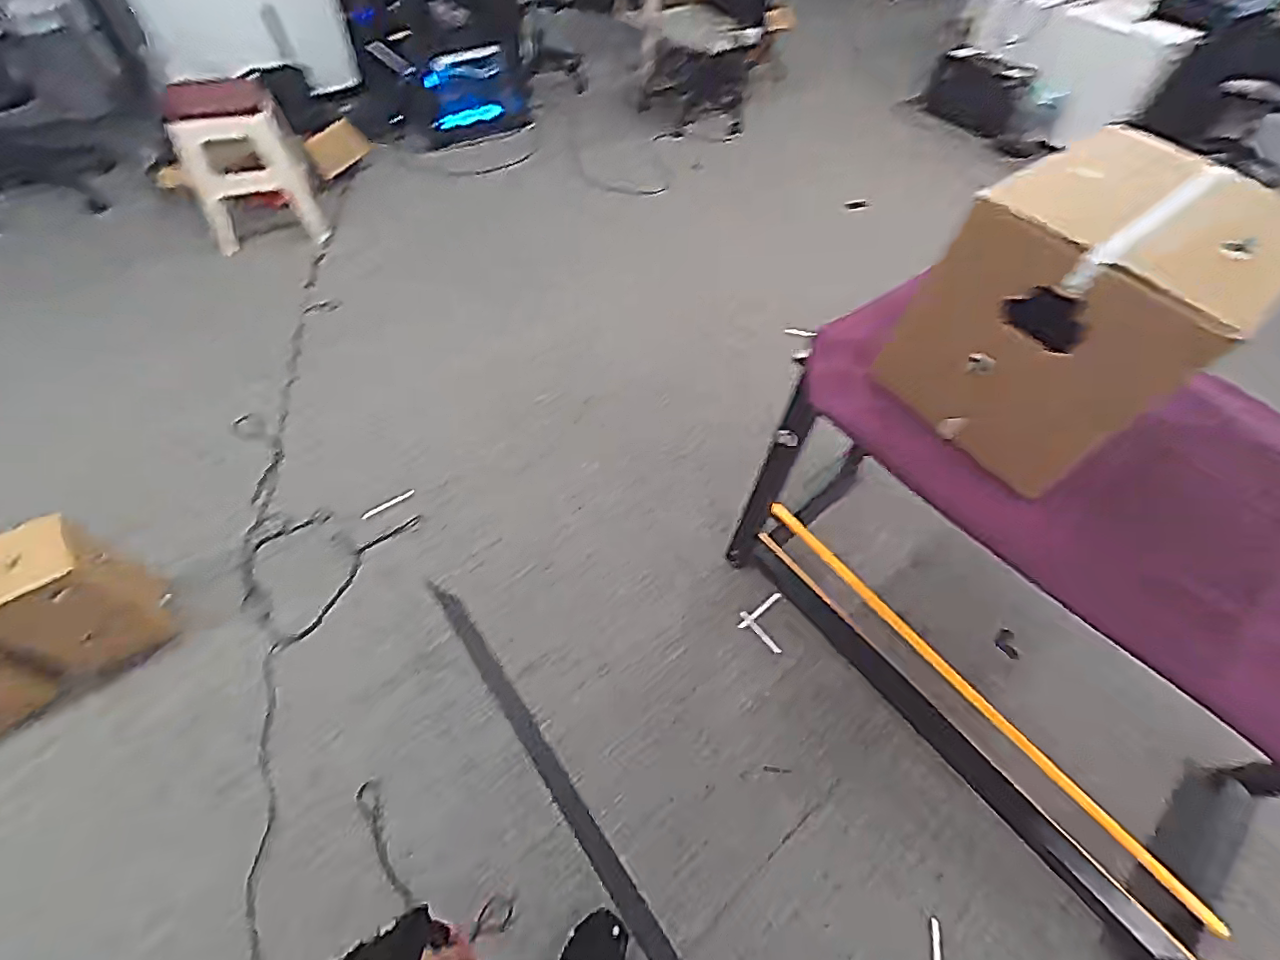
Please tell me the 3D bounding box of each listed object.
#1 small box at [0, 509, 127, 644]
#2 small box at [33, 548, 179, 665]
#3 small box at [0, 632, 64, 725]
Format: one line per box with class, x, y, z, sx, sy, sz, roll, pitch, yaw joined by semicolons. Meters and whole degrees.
small box;-1.196;0.197;1.093;0.179;0.176;0.168;-32;63;-23
small box;-1.207;0.291;1.228;0.179;0.176;0.168;-25;61;-22
small box;-1.390;0.403;1.136;0.179;0.176;0.168;41;61;21
